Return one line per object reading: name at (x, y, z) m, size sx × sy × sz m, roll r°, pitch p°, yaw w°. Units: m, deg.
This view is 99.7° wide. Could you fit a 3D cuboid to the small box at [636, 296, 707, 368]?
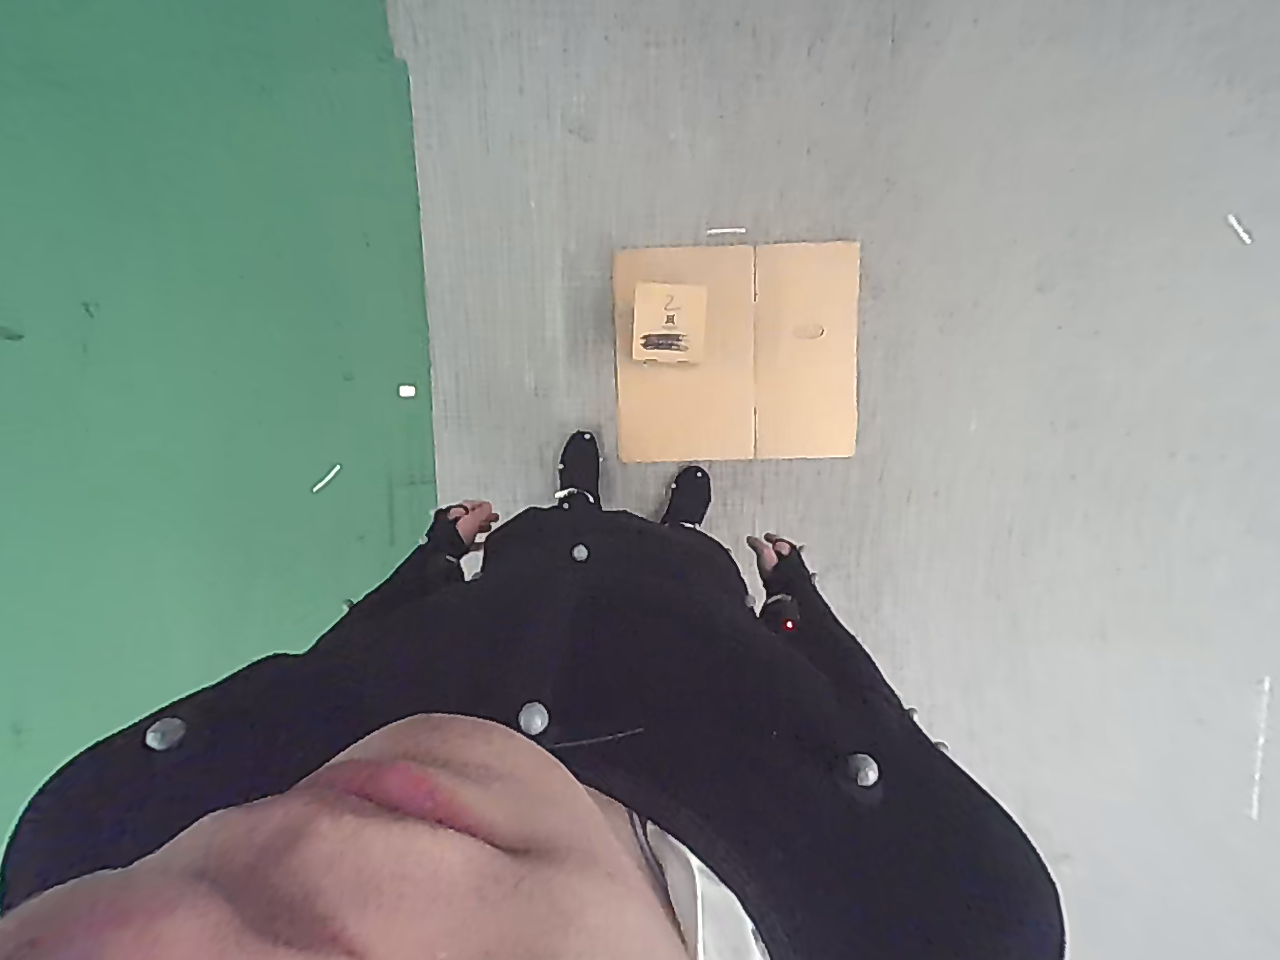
small box at (0.083, -0.398, 1.479) m, size 0.179 × 0.176 × 0.168 m, roll 3°, pitch 98°, yaw 1°
